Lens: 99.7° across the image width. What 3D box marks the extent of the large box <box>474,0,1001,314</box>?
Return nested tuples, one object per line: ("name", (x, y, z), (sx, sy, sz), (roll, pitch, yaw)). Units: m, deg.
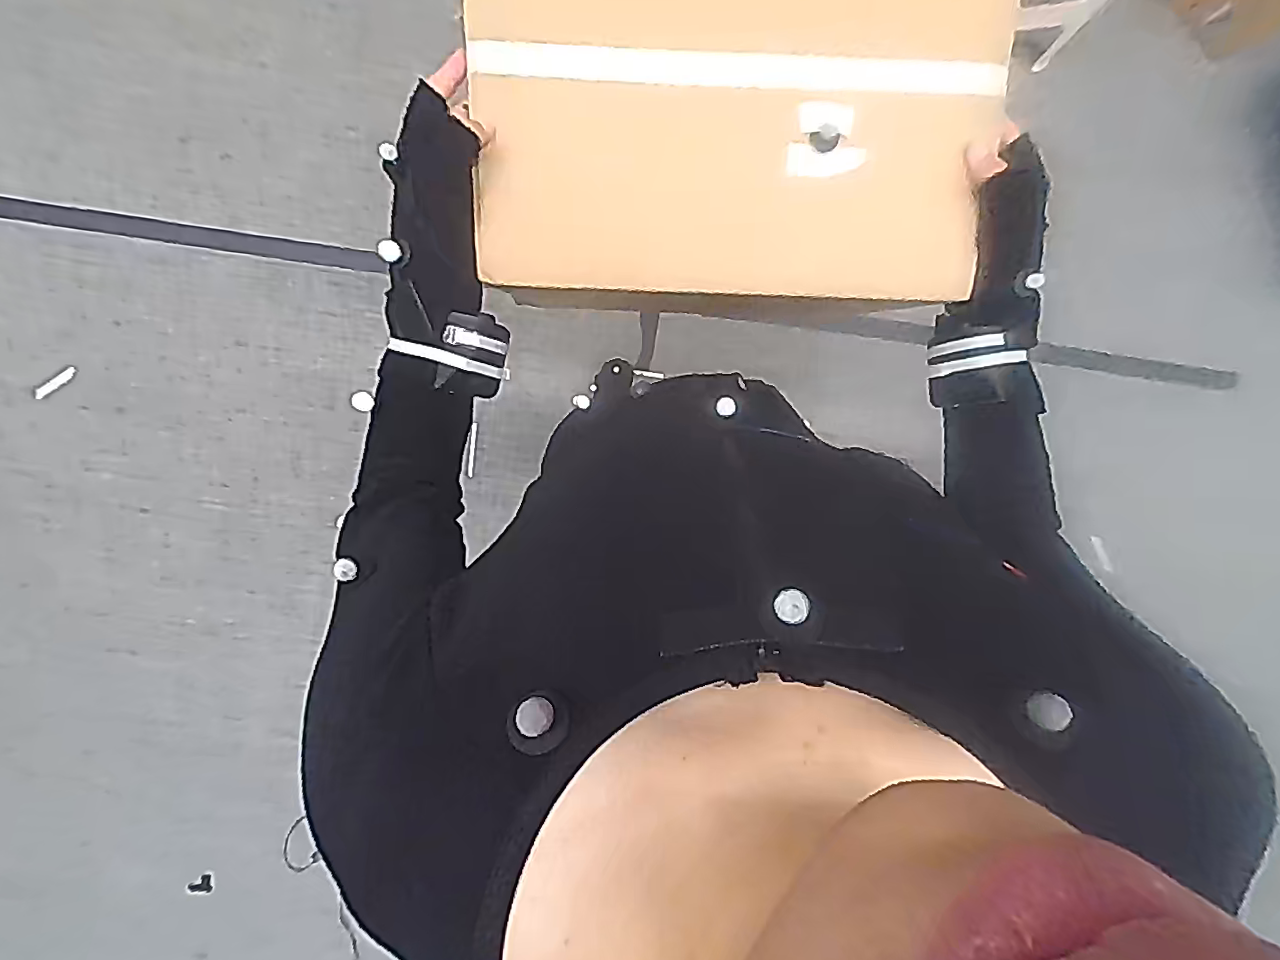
("large box", (0.067, -0.346, 0.562), (0.408, 0.320, 0.320), (1, 104, -2))
